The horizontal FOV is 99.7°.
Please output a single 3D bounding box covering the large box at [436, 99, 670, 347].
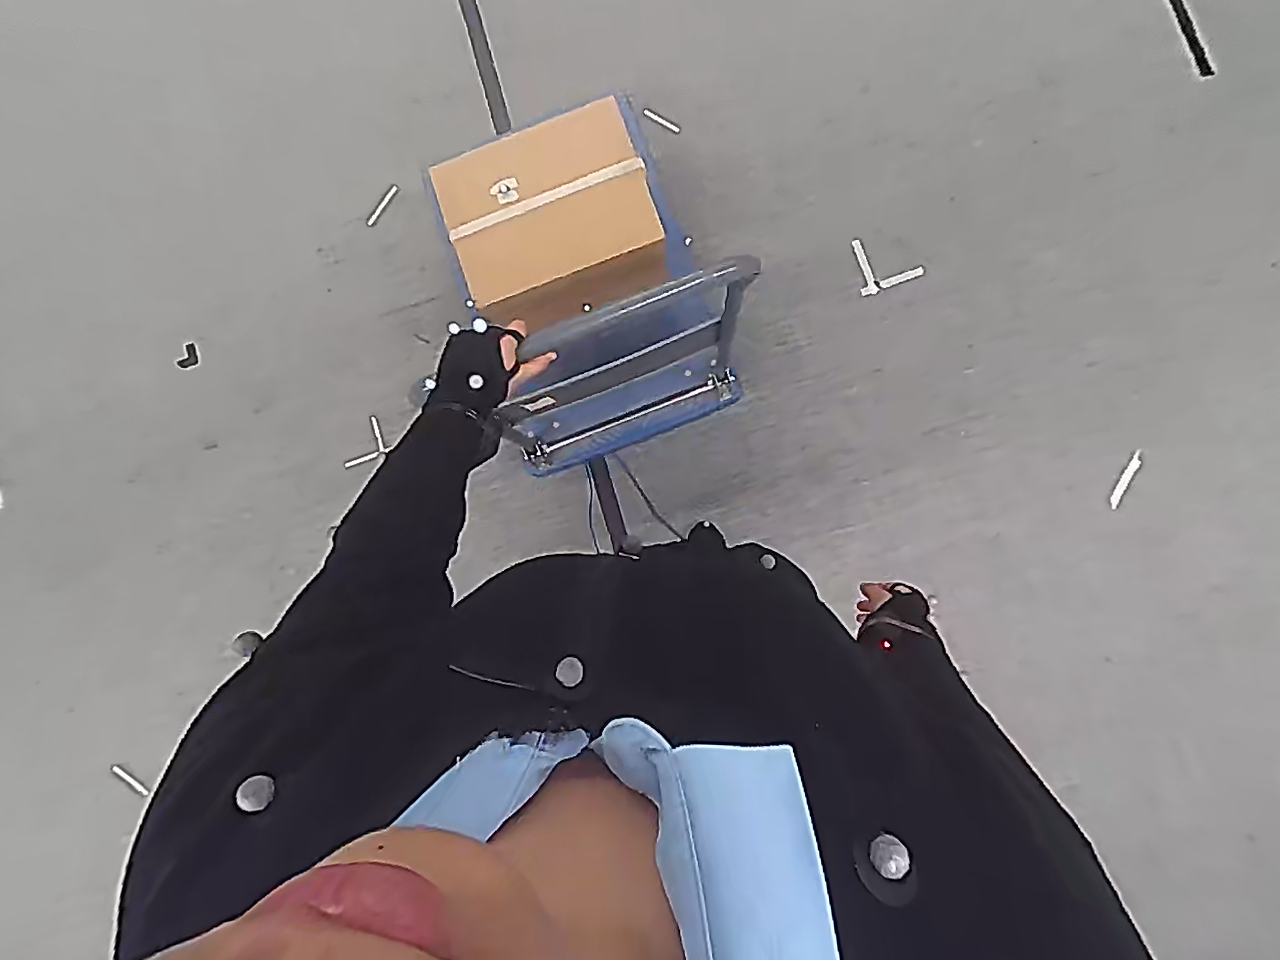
[{"bbox_3d":[-0.173,-0.549,1.235,0.408,0.320,0.320,-20,85,5],"label":"large box"}]
